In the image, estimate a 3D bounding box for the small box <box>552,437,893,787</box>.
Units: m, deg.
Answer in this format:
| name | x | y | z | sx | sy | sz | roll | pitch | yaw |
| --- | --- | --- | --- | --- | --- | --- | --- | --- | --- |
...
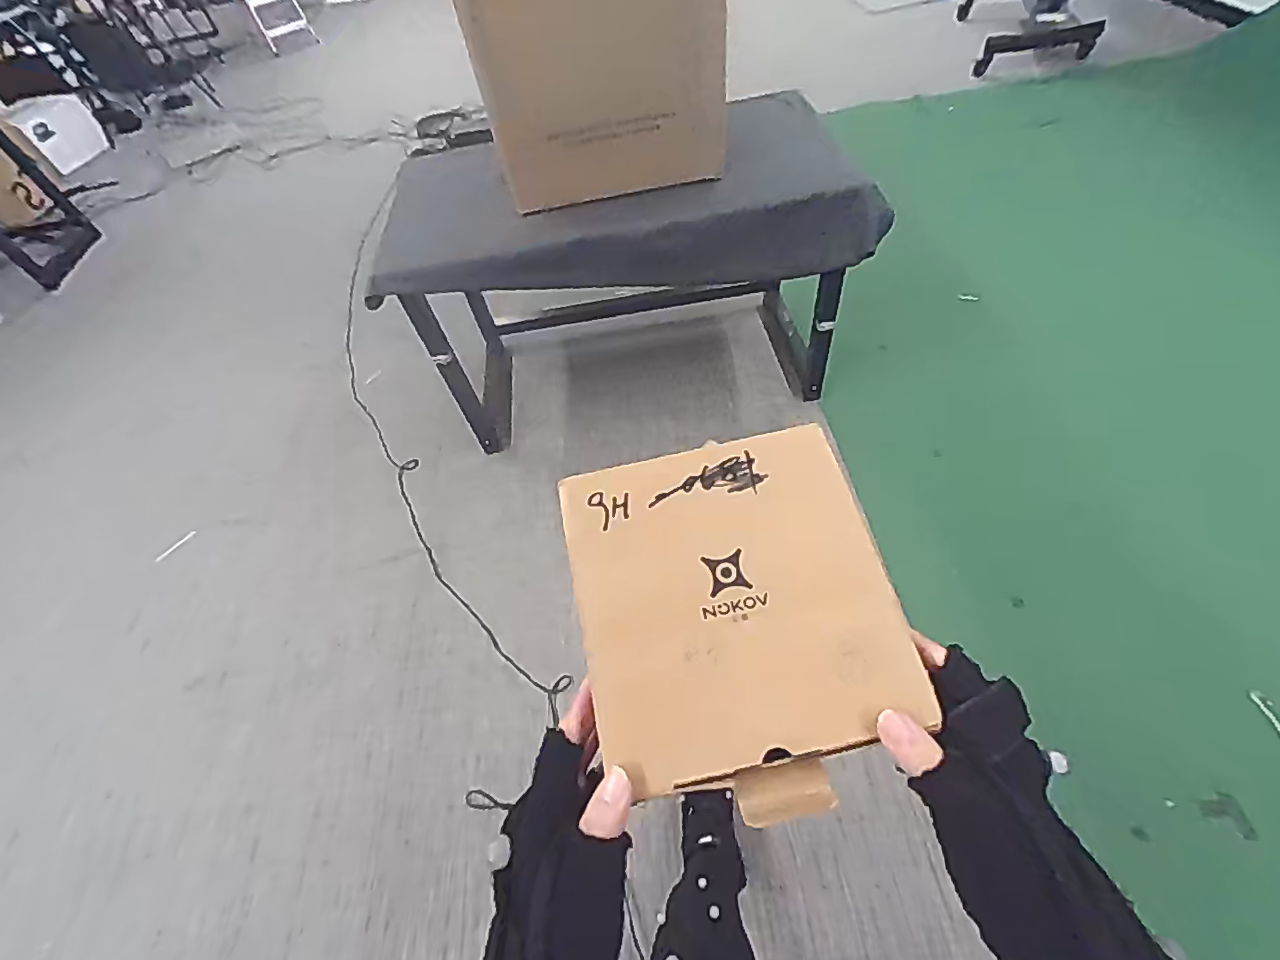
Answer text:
| name | x | y | z | sx | sy | sz | roll | pitch | yaw |
| --- | --- | --- | --- | --- | --- | --- | --- | --- | --- |
| small box | 0.047 | 0.099 | 0.395 | 0.168 | 0.176 | 0.179 | -15 | 65 | -1 |
